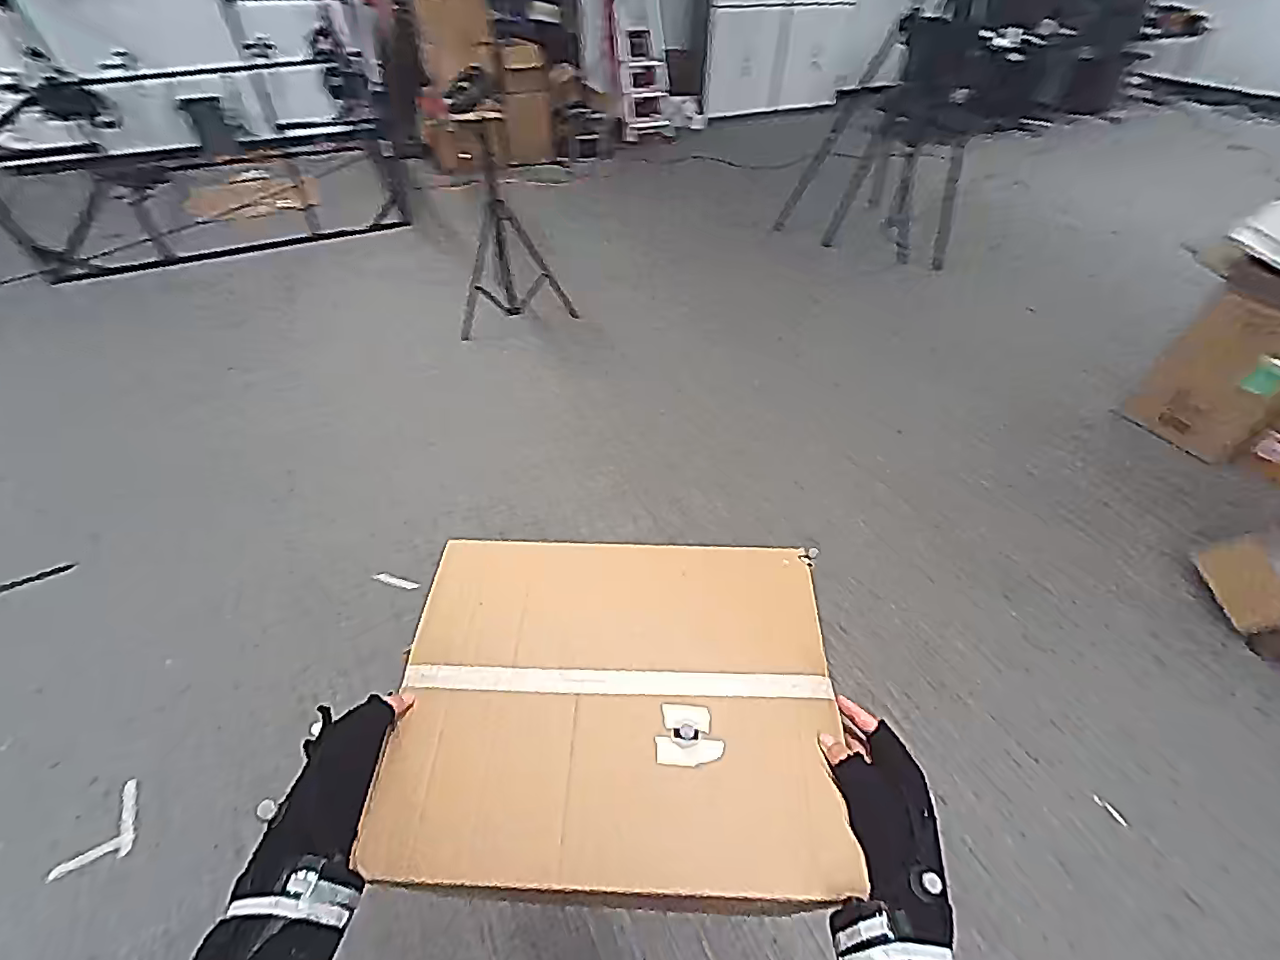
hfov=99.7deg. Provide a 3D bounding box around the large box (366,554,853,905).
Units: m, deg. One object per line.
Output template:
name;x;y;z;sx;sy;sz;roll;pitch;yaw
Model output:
large box;-0.025;0.300;0.641;0.408;0.320;0.320;1;51;1
